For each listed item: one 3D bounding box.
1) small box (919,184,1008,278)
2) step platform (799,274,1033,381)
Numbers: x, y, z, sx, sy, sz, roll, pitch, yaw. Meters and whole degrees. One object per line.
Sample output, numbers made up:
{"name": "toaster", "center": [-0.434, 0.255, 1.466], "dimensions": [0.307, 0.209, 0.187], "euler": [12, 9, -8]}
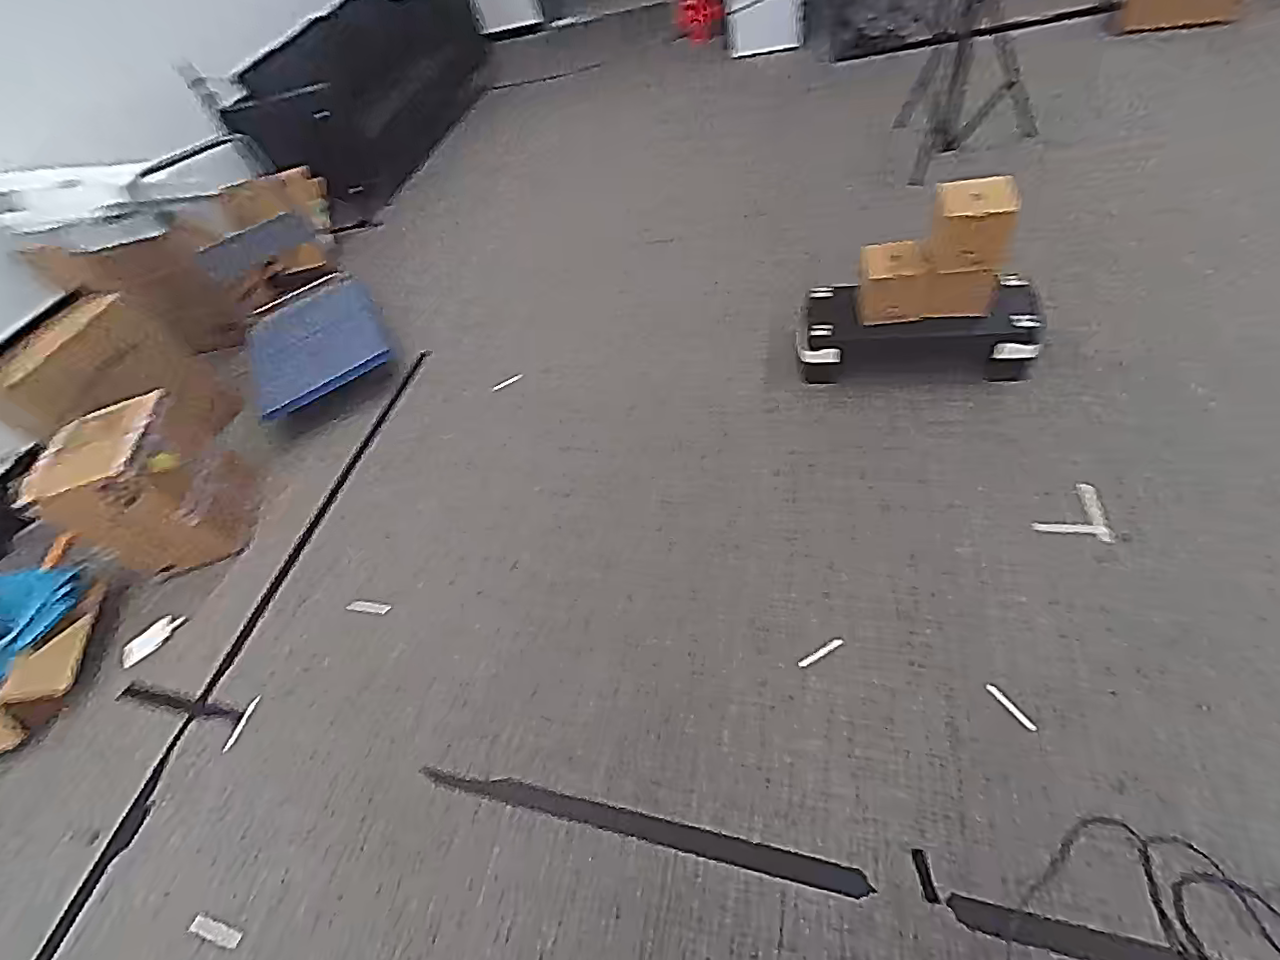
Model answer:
{"name": "small box", "center": [0.889, -0.689, 1.503], "dimensions": [0.168, 0.176, 0.179], "euler": [0, 54, 16]}
{"name": "step platform", "center": [0.884, -0.502, 1.795], "dimensions": [0.684, 0.204, 0.286], "euler": [1, 53, 18]}
